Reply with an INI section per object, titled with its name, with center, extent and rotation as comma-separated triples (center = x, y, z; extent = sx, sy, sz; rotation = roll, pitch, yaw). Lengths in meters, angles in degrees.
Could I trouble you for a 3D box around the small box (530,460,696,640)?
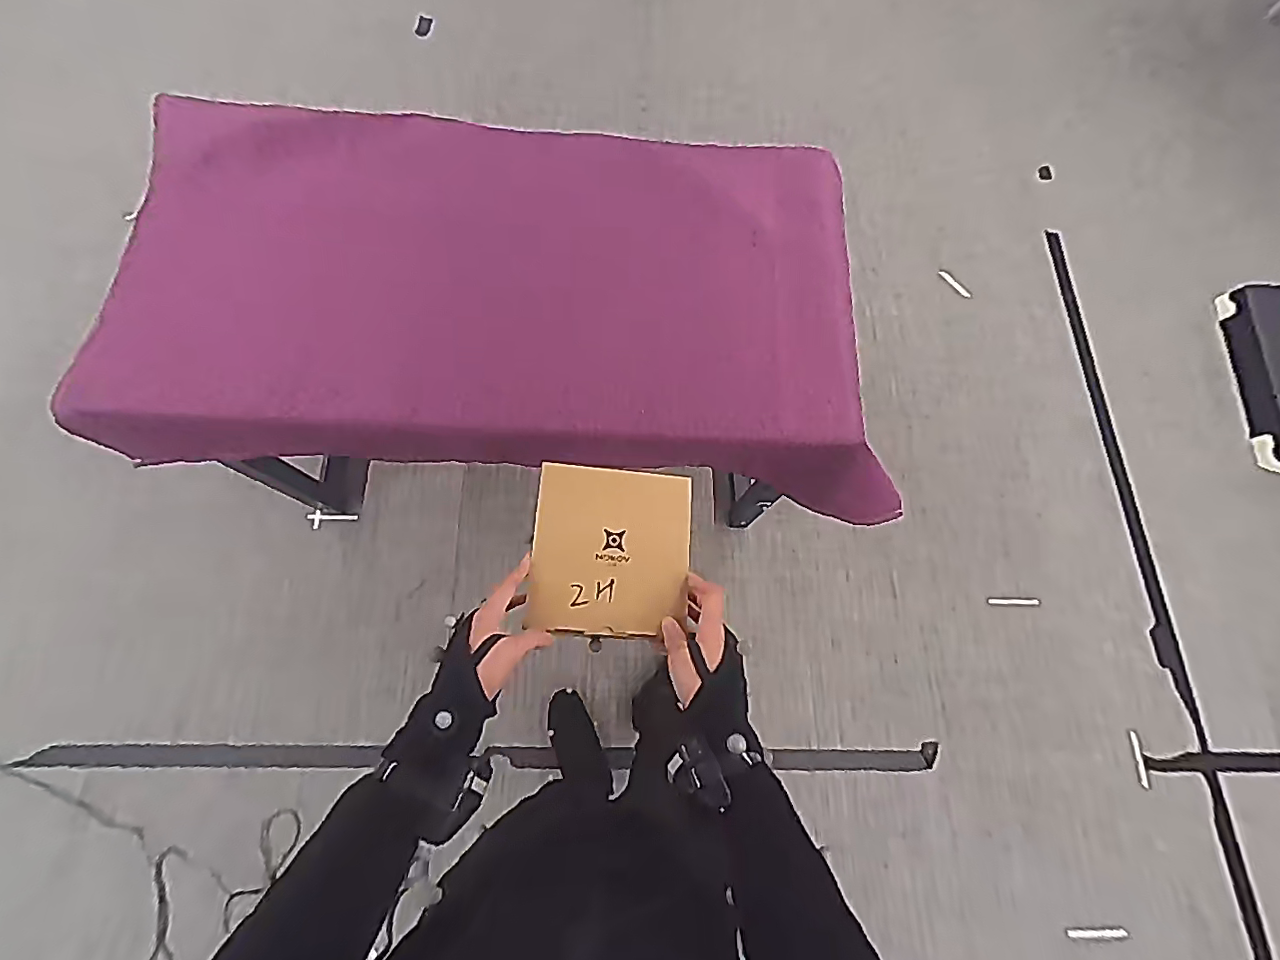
[small box]
center = -0.036, 0.092, 0.643
extent = 0.168, 0.176, 0.179
rotation = 7, 73, -7
